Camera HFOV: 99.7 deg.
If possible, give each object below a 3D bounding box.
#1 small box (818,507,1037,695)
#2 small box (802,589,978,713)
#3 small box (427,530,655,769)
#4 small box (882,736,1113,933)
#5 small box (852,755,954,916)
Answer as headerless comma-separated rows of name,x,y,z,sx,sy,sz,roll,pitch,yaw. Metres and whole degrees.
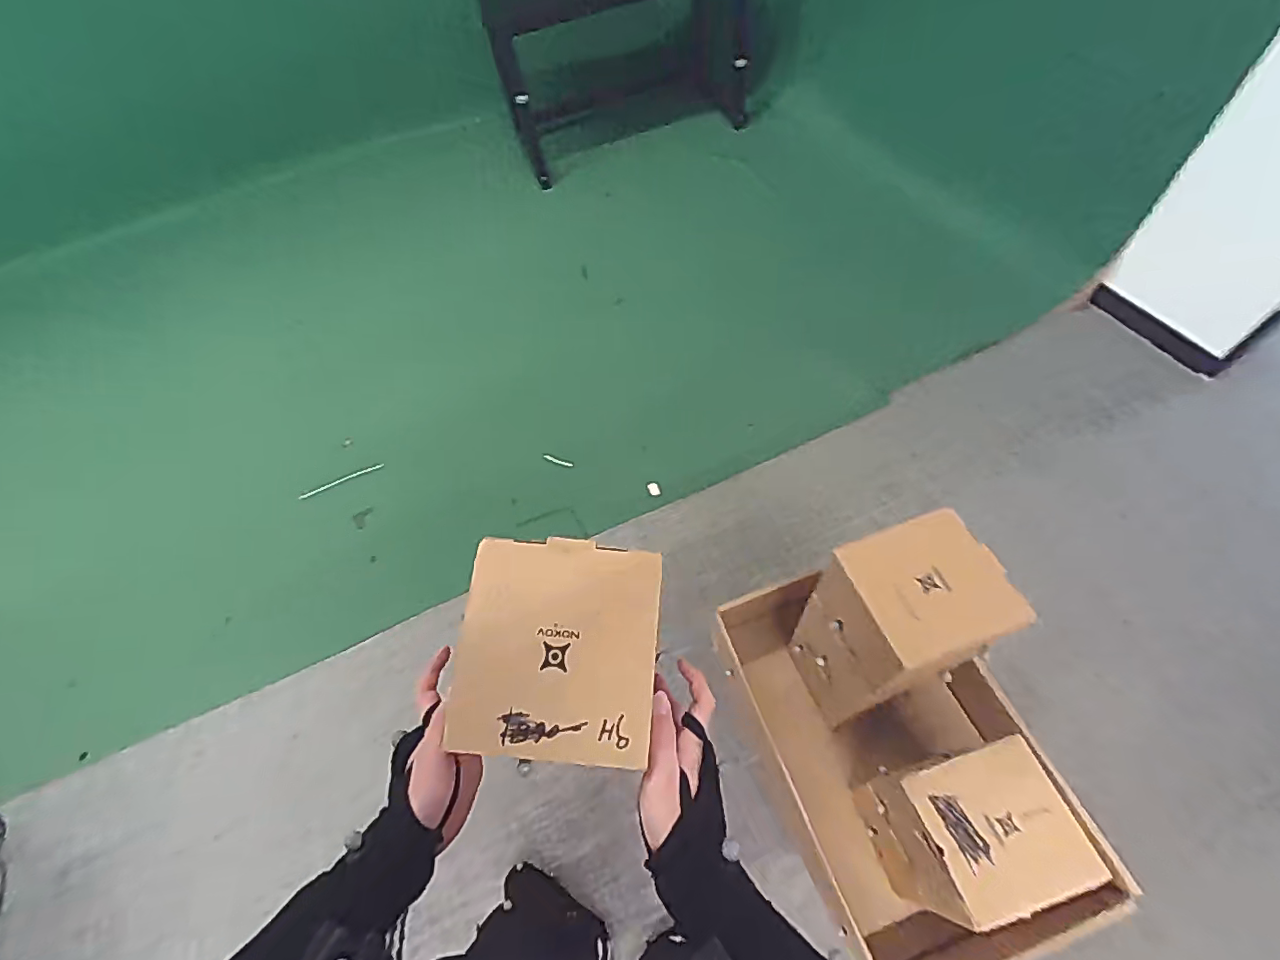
small box,0.364,0.167,0.726,0.179,0.176,0.168,-19,57,-4
small box,0.381,0.251,0.863,0.179,0.176,0.168,-20,57,-5
small box,-0.076,0.159,0.517,0.168,0.176,0.179,4,71,3
small box,0.449,0.466,0.722,0.179,0.176,0.168,-18,58,-4
small box,0.468,0.552,0.861,0.179,0.176,0.168,-19,58,-3
